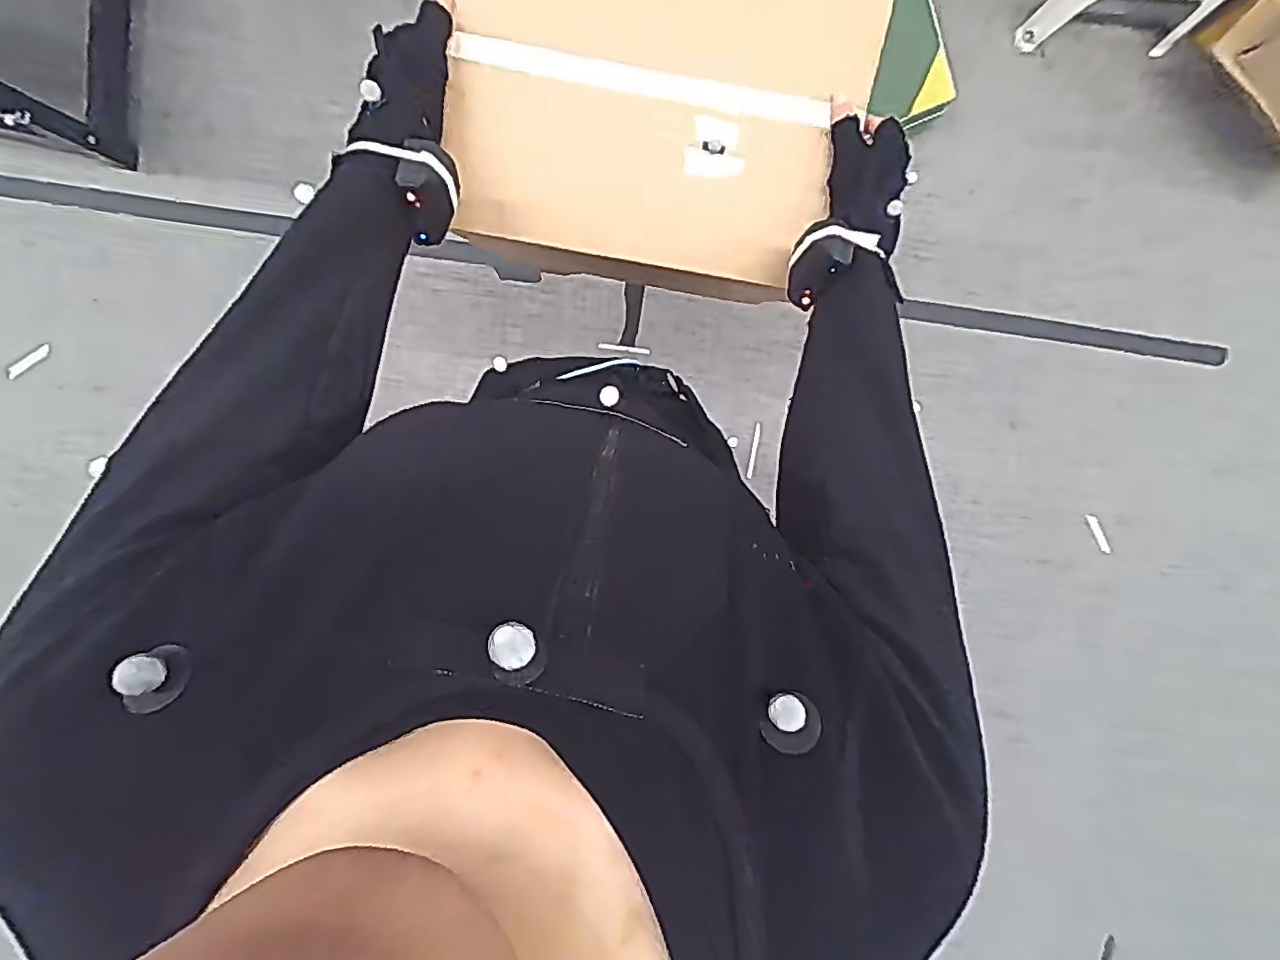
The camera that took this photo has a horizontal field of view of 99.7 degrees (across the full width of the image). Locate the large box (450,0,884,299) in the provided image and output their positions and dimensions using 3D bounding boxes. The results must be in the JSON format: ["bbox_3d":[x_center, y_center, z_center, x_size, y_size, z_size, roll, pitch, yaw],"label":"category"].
[{"bbox_3d":[0.015,-0.420,0.673,0.408,0.320,0.320,9,107,-4],"label":"large box"}]
